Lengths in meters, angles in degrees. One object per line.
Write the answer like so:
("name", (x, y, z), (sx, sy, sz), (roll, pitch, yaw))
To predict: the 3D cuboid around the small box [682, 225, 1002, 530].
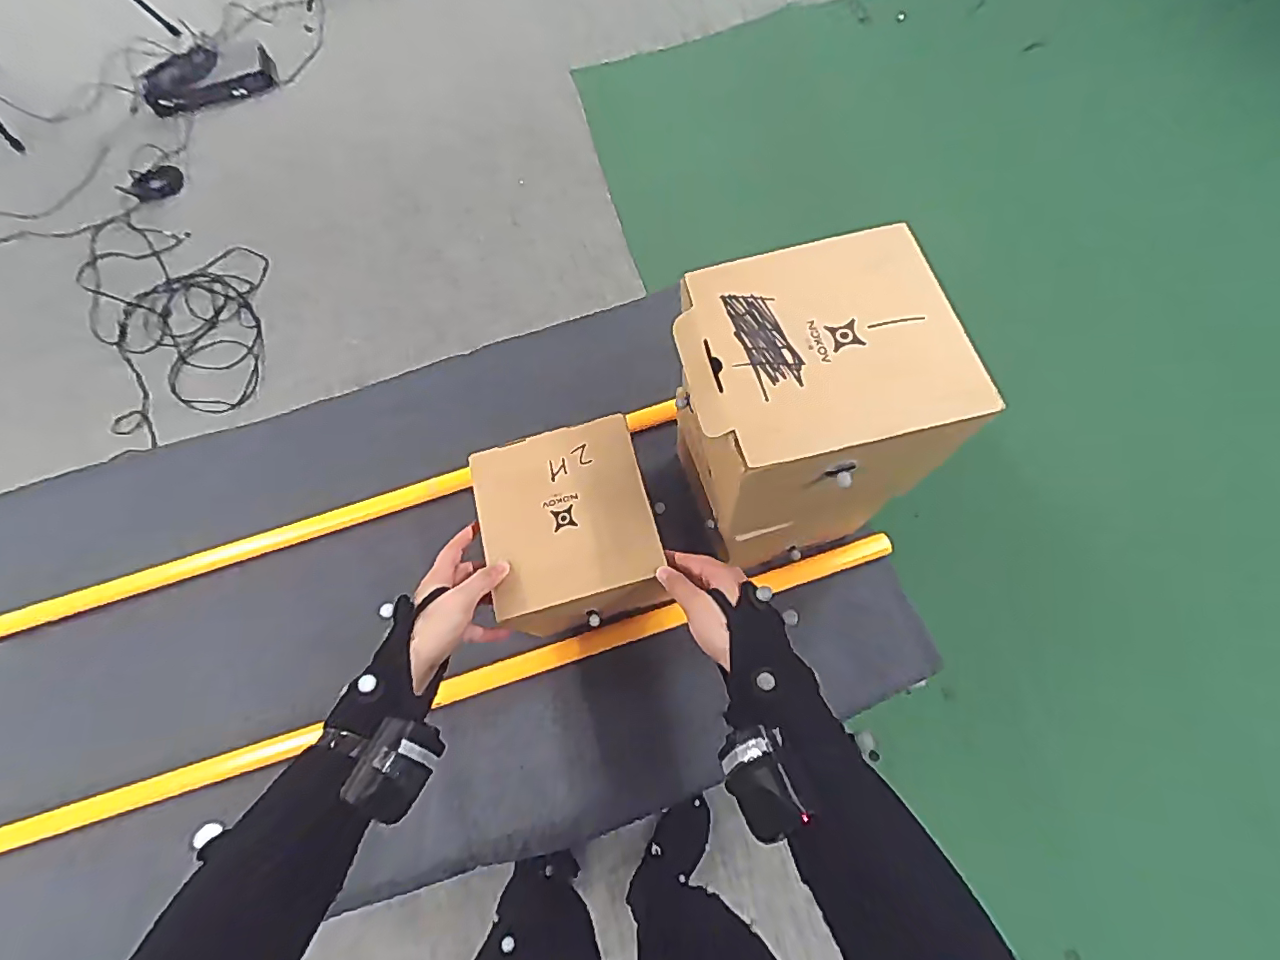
("small box", (0.138, -0.069, 0.448), (0.179, 0.176, 0.168), (-13, 69, -1))
